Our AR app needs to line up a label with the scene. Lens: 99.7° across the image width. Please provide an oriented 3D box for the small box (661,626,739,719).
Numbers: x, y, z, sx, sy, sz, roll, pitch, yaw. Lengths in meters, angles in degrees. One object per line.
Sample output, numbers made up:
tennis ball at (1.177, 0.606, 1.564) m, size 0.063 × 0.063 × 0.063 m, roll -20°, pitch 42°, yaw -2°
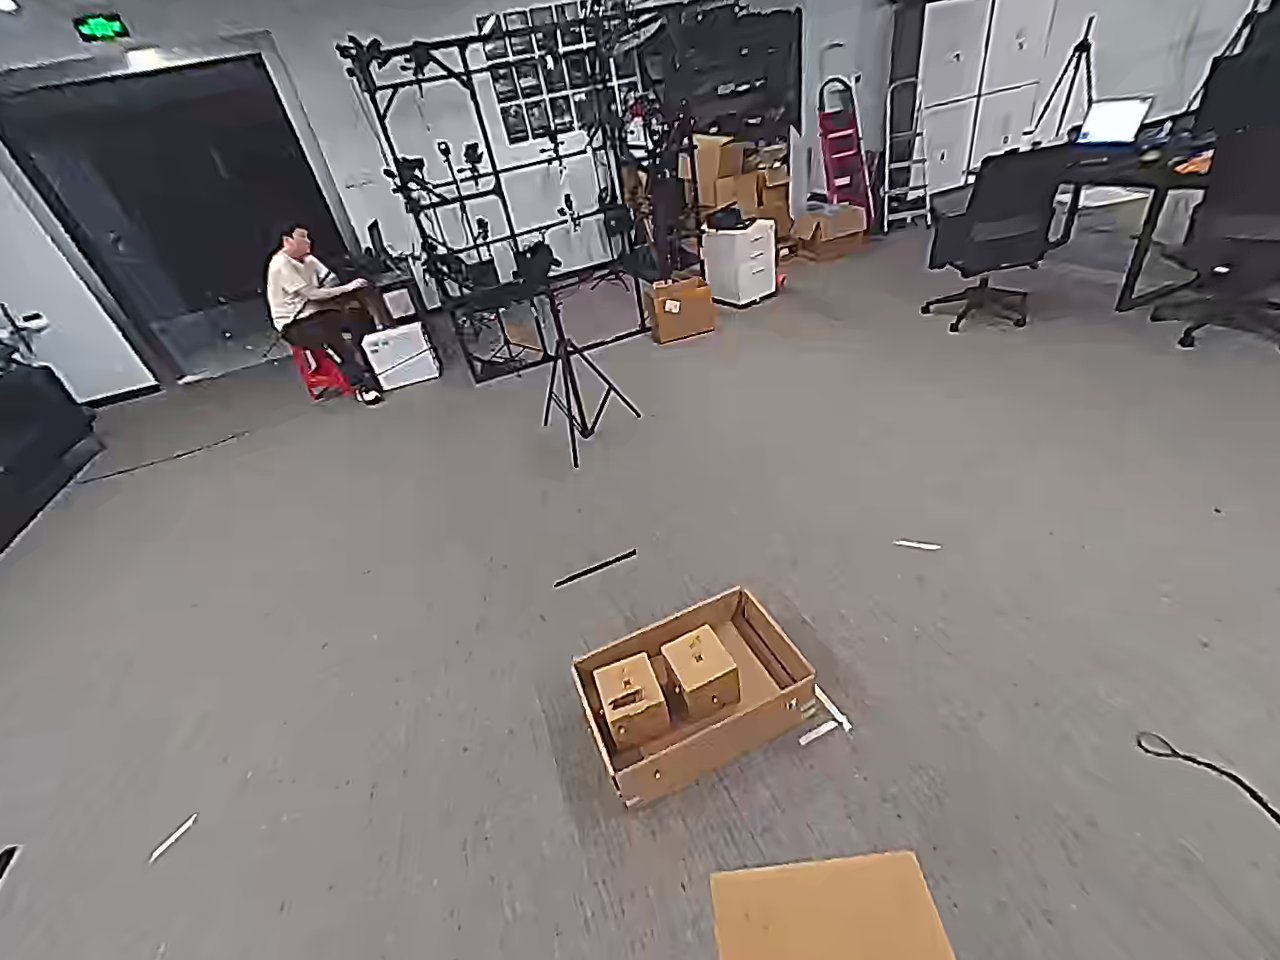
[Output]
small box at (0.180, 0.576, 1.605) m, size 0.168 × 0.176 × 0.179 m, roll -21°, pitch 36°, yaw -14°
